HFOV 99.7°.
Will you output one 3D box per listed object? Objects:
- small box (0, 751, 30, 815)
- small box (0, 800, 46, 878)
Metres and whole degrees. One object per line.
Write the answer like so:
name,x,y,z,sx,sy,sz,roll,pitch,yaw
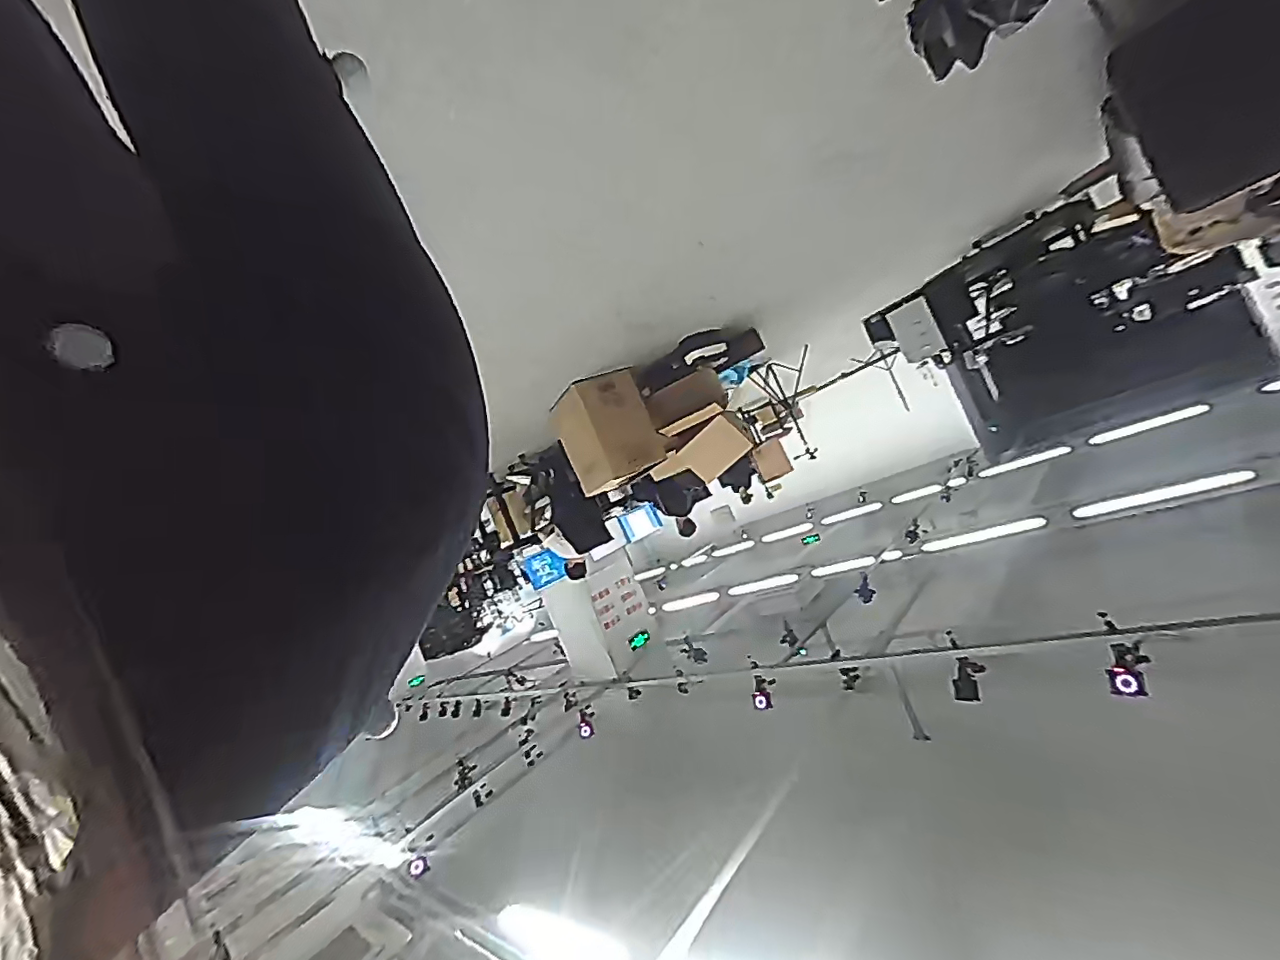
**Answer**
small box,-1.990,0.941,1.616,0.168,0.176,0.179,-23,180,44
small box,-1.923,1.090,1.607,0.168,0.176,0.179,-24,177,44
